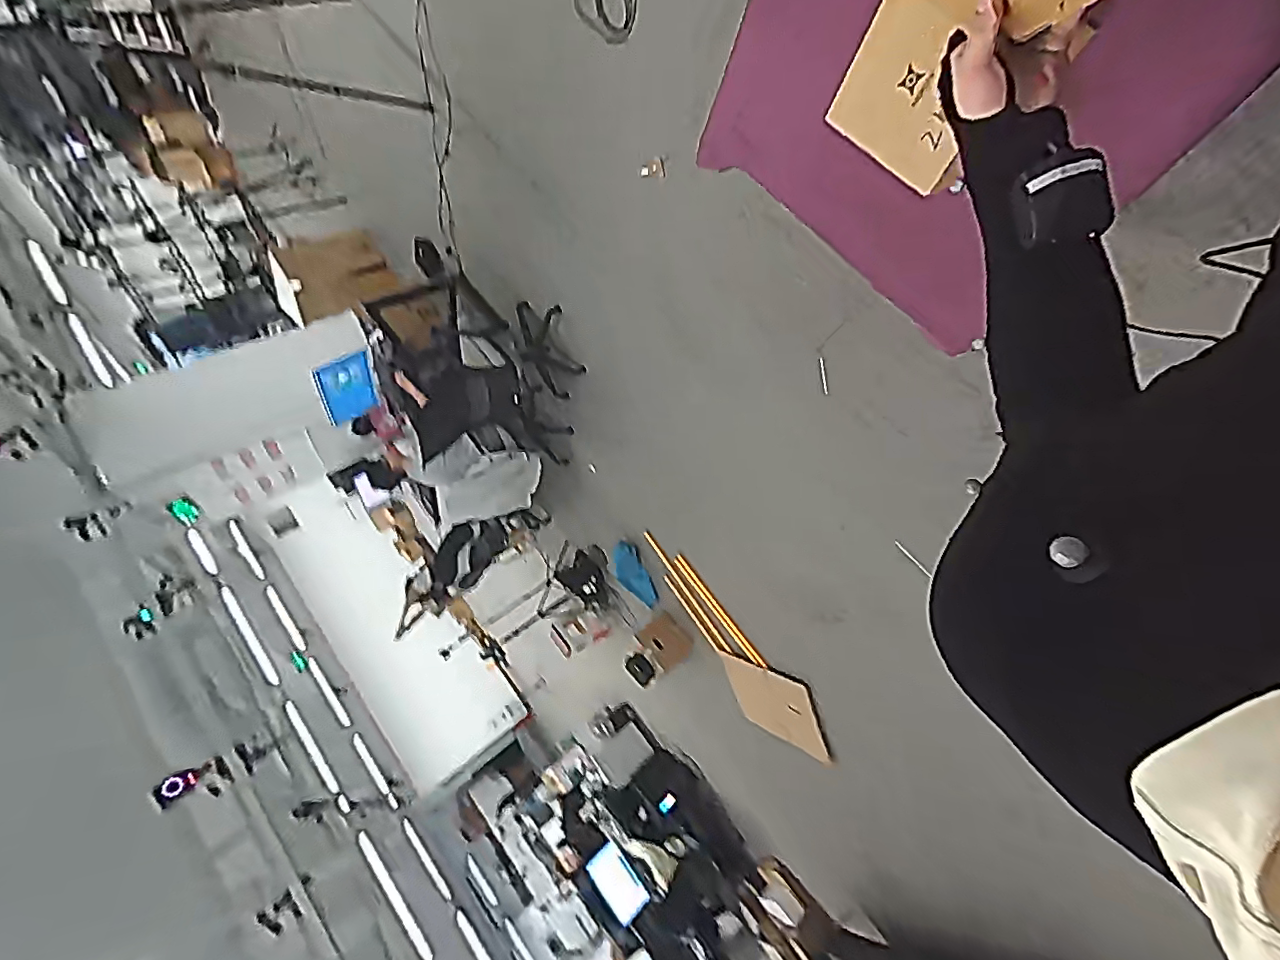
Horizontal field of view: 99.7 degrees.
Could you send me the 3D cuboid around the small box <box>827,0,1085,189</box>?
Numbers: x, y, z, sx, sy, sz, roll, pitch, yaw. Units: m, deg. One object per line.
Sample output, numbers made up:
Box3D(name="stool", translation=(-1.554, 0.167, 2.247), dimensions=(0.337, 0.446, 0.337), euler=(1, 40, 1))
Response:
Box3D(name="small box", translation=(0.375, -0.493, 0.656), dimensions=(0.179, 0.176, 0.168), euler=(49, 150, 15))
